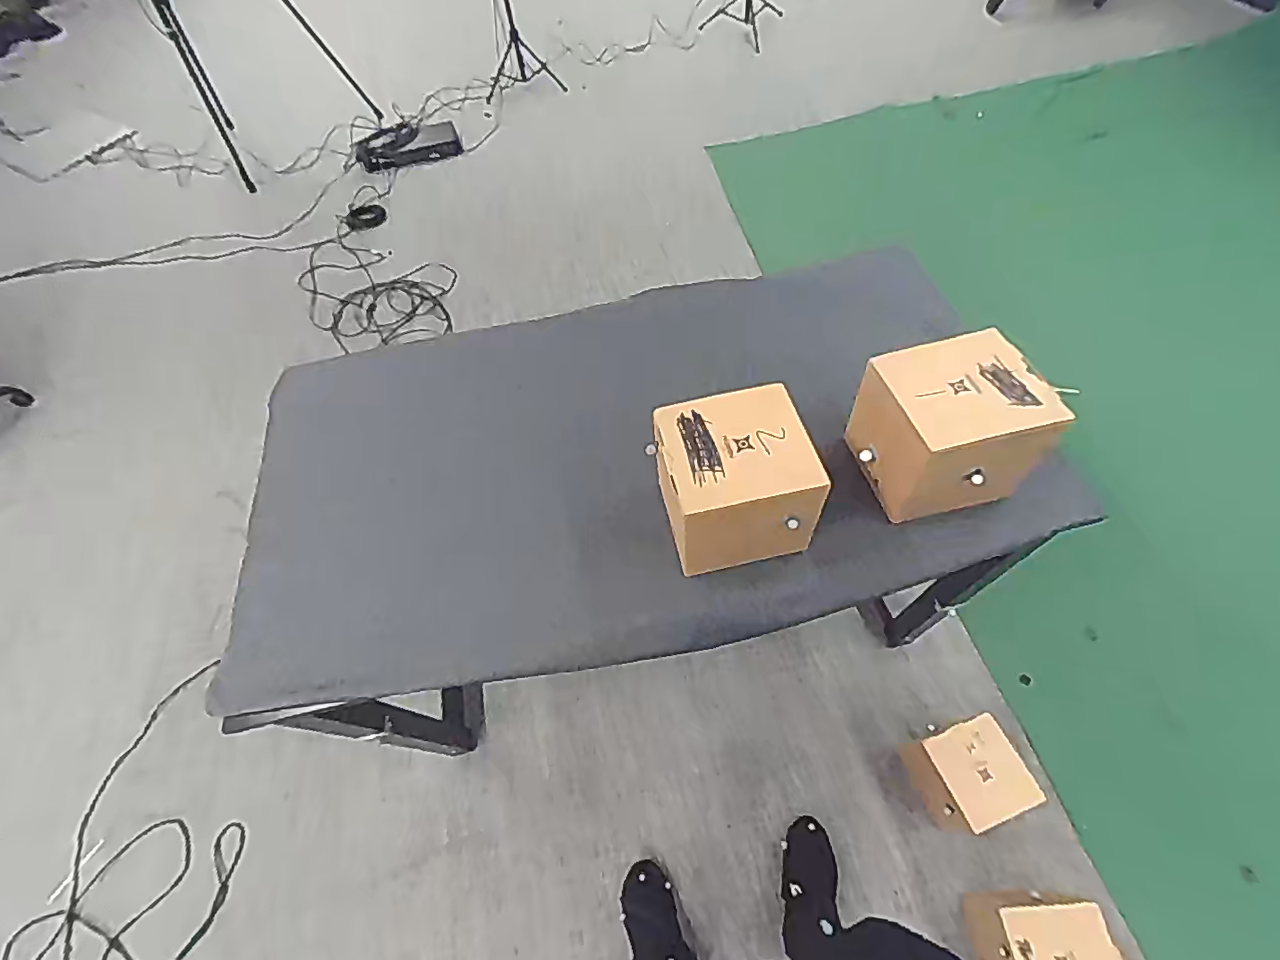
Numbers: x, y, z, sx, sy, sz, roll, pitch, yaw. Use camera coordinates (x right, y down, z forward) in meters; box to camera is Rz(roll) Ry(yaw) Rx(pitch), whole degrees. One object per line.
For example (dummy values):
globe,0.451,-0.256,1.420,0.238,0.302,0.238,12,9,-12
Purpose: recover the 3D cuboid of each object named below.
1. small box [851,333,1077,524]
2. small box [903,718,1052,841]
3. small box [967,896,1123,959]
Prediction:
small box,0.410,-0.063,0.723,0.179,0.176,0.168,-13,55,0
small box,0.695,0.626,1.139,0.168,0.176,0.179,-20,59,-6
small box,0.744,0.876,0.985,0.179,0.176,0.168,-5,60,3
